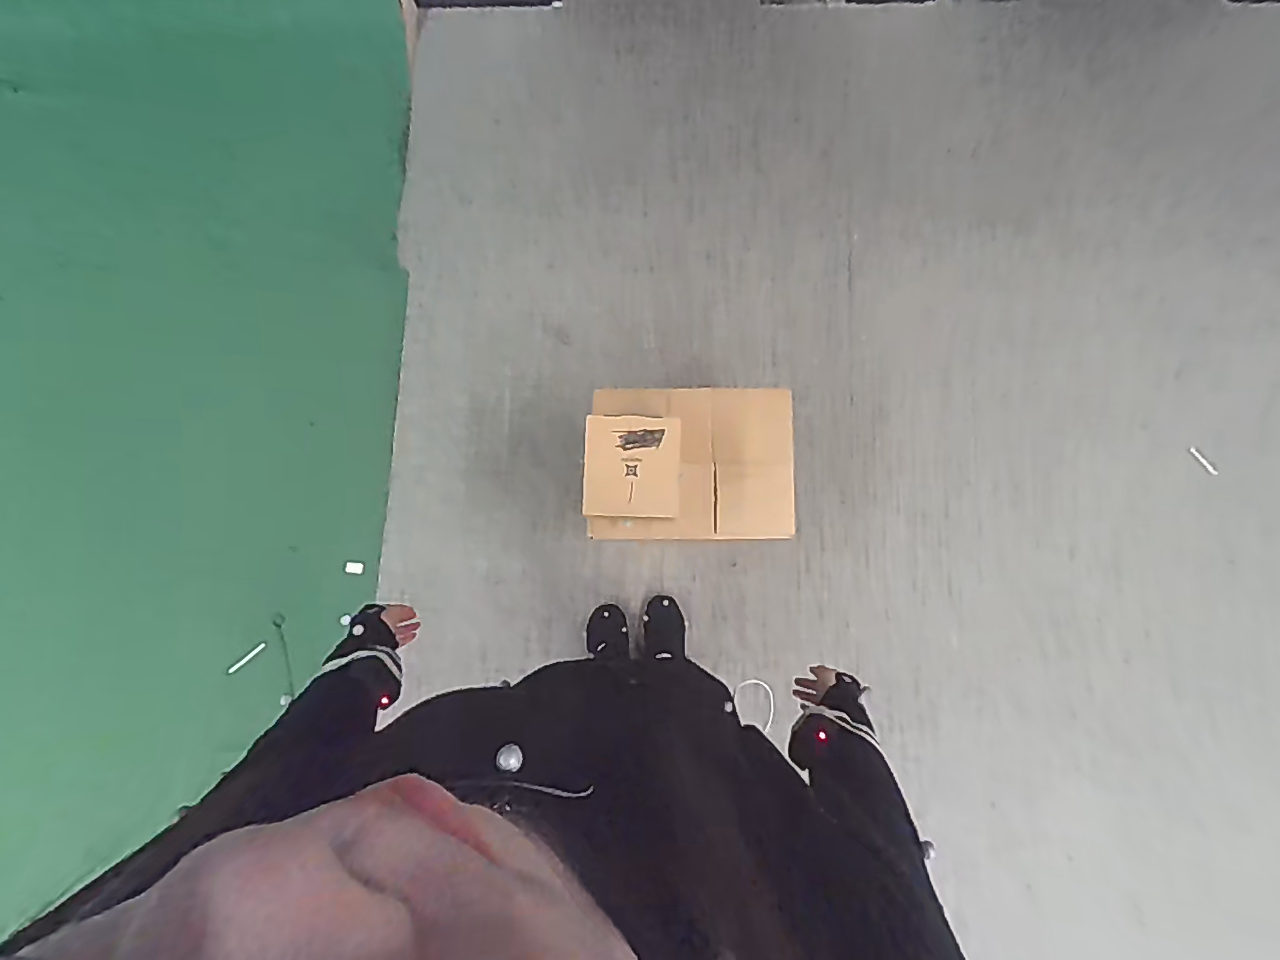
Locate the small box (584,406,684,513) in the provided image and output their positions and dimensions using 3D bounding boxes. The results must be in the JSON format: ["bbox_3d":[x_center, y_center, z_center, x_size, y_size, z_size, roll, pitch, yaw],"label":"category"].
[{"bbox_3d":[-0.010,-0.032,1.009,0.168,0.176,0.179,2,86,1],"label":"small box"}]
